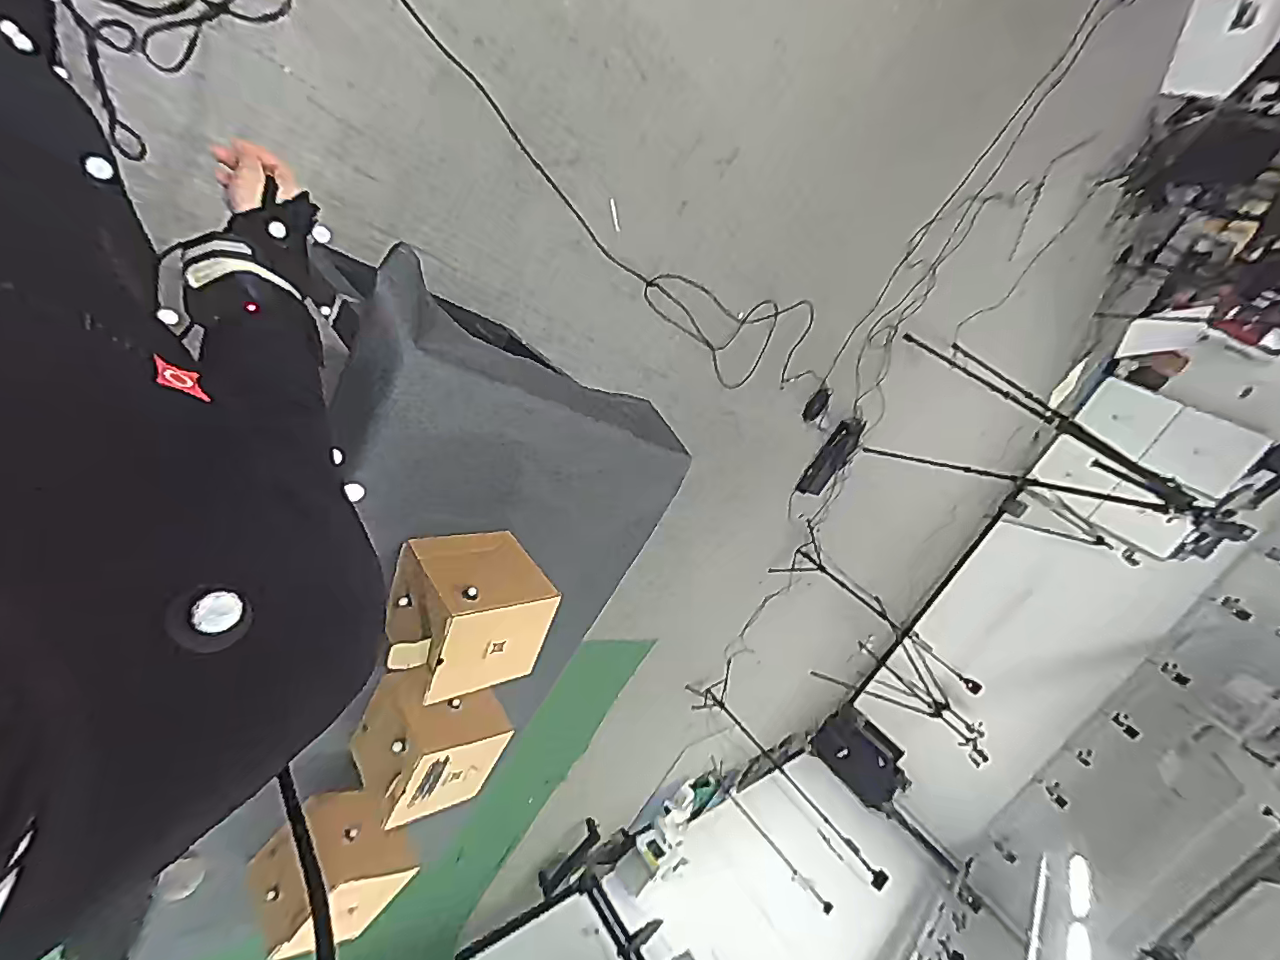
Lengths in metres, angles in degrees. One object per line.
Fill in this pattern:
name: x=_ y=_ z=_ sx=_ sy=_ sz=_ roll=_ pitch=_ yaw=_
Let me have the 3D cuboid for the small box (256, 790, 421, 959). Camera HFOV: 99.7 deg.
small box: x=-0.537 y=0.682 z=0.960 sx=0.168 sy=0.176 sz=0.179 roll=-46 pitch=145 yaw=-2

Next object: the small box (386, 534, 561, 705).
small box: x=-0.256 y=0.196 z=0.818 sx=0.179 sy=0.176 sz=0.168 roll=-1 pitch=123 yaw=-45
